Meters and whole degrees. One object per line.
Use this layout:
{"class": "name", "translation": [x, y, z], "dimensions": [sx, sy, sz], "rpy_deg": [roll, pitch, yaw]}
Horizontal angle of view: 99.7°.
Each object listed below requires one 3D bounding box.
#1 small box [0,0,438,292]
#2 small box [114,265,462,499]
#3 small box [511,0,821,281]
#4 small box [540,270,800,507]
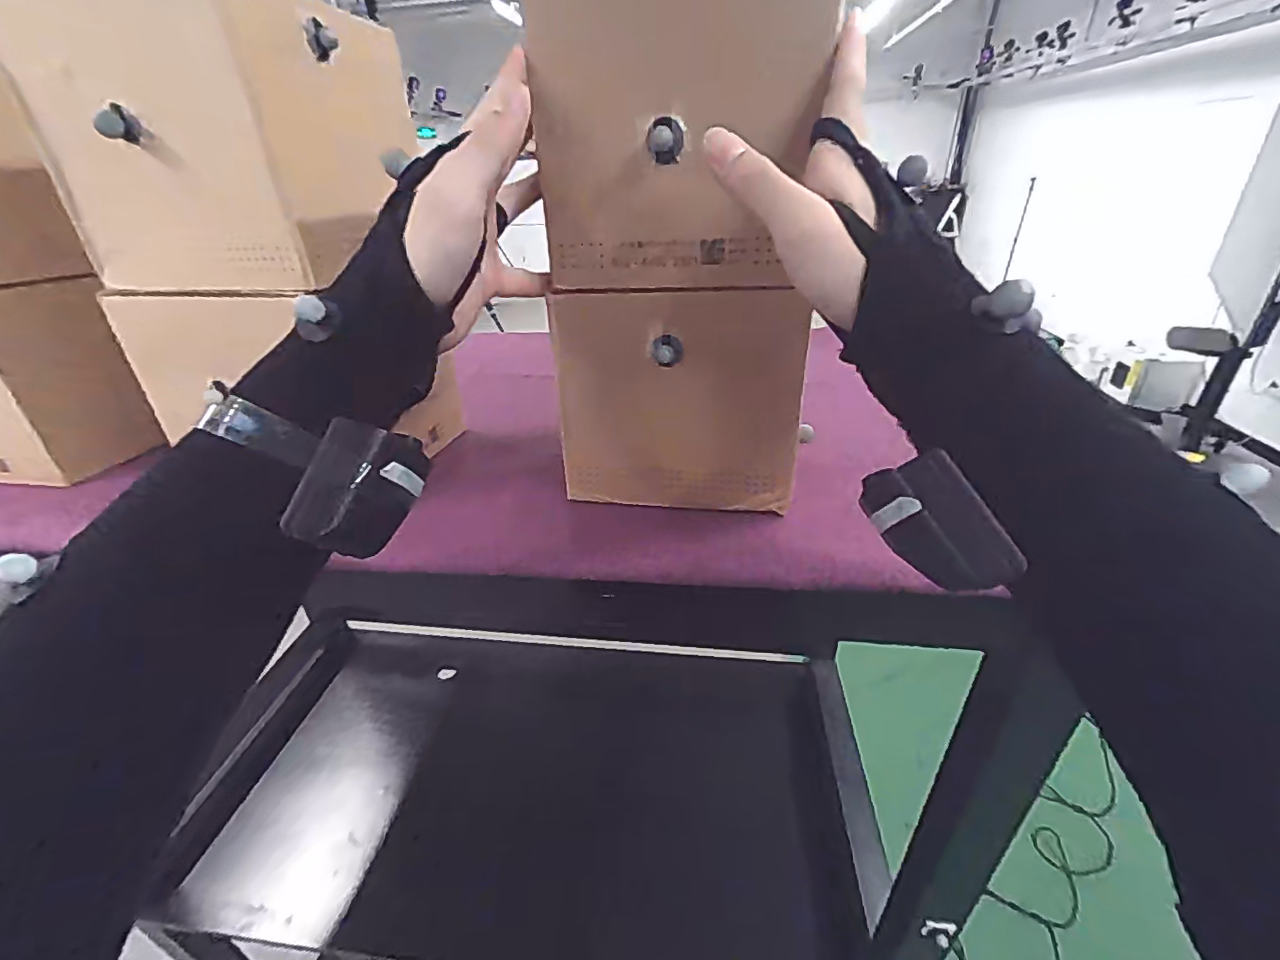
{"class": "small box", "translation": [-0.287, -0.241, 0.414], "dimensions": [0.179, 0.176, 0.168], "rpy_deg": [2, 30, 10]}
{"class": "small box", "translation": [-0.287, -0.096, 0.489], "dimensions": [0.179, 0.176, 0.168], "rpy_deg": [3, 29, 13]}
{"class": "small box", "translation": [0.032, -0.235, 0.378], "dimensions": [0.168, 0.176, 0.179], "rpy_deg": [3, 30, 12]}
{"class": "small box", "translation": [0.036, -0.090, 0.455], "dimensions": [0.179, 0.176, 0.168], "rpy_deg": [4, 30, 12]}
